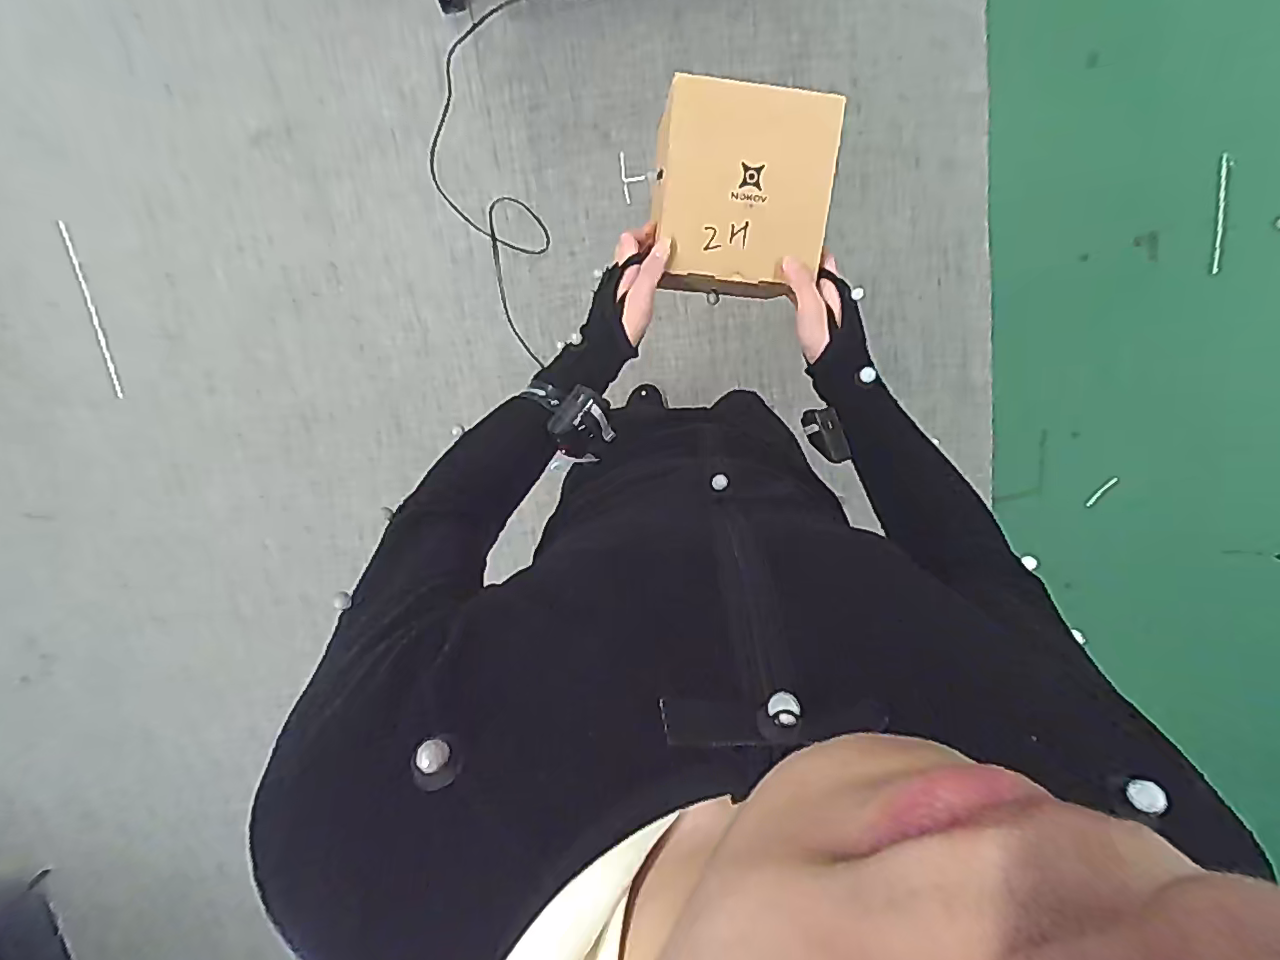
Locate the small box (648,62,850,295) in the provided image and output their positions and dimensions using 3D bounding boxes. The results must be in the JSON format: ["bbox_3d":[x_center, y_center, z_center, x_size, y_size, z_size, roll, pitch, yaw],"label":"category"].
[{"bbox_3d":[0.102,-0.308,0.593,0.168,0.176,0.179,4,105,-5],"label":"small box"}]
